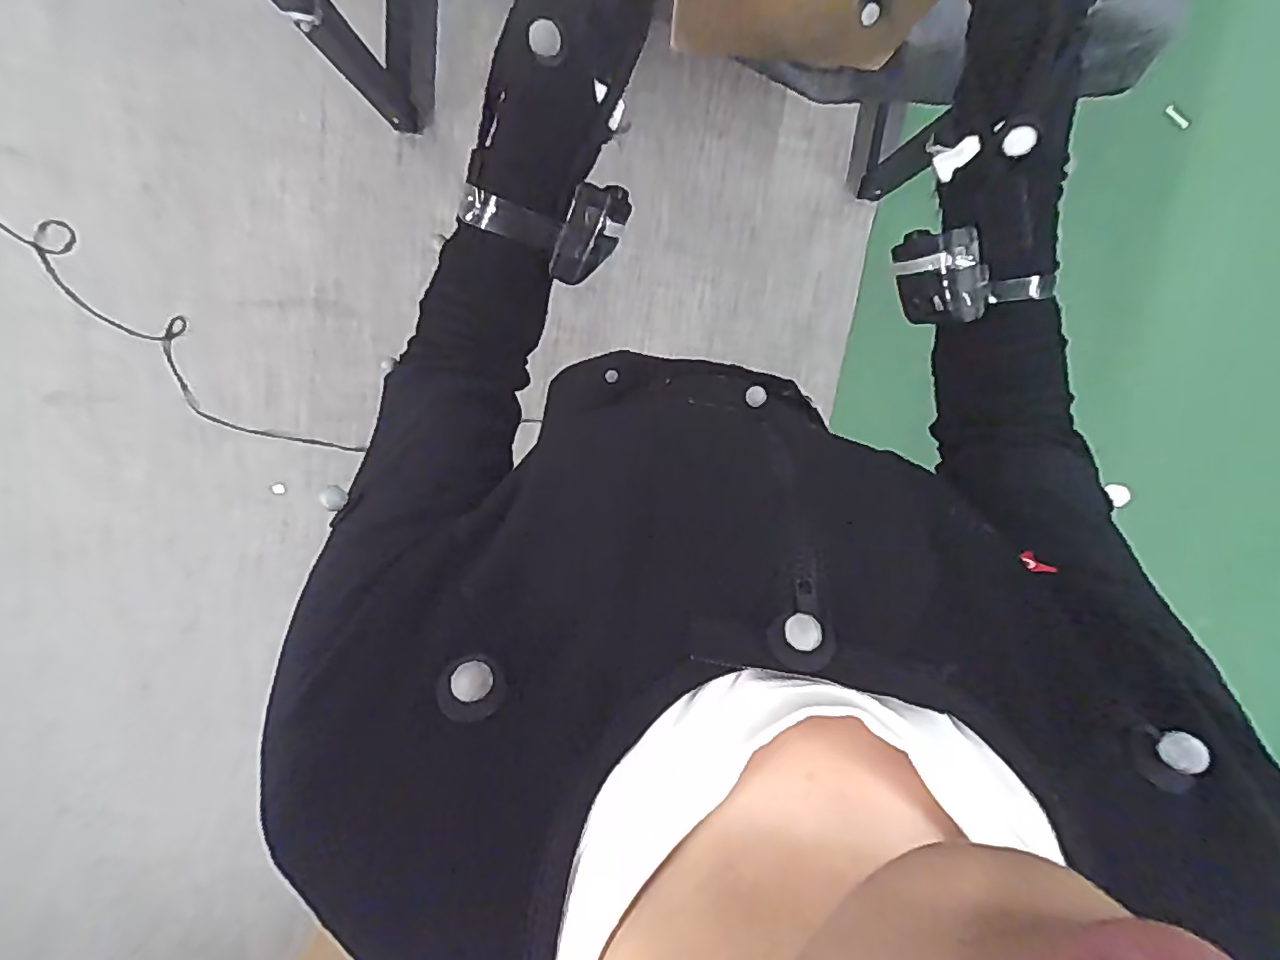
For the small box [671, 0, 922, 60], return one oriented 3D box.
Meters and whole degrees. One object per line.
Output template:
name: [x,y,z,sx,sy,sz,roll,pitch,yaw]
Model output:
small box: [0.117,-0.409,0.350,0.179,0.176,0.168,3,102,0]
